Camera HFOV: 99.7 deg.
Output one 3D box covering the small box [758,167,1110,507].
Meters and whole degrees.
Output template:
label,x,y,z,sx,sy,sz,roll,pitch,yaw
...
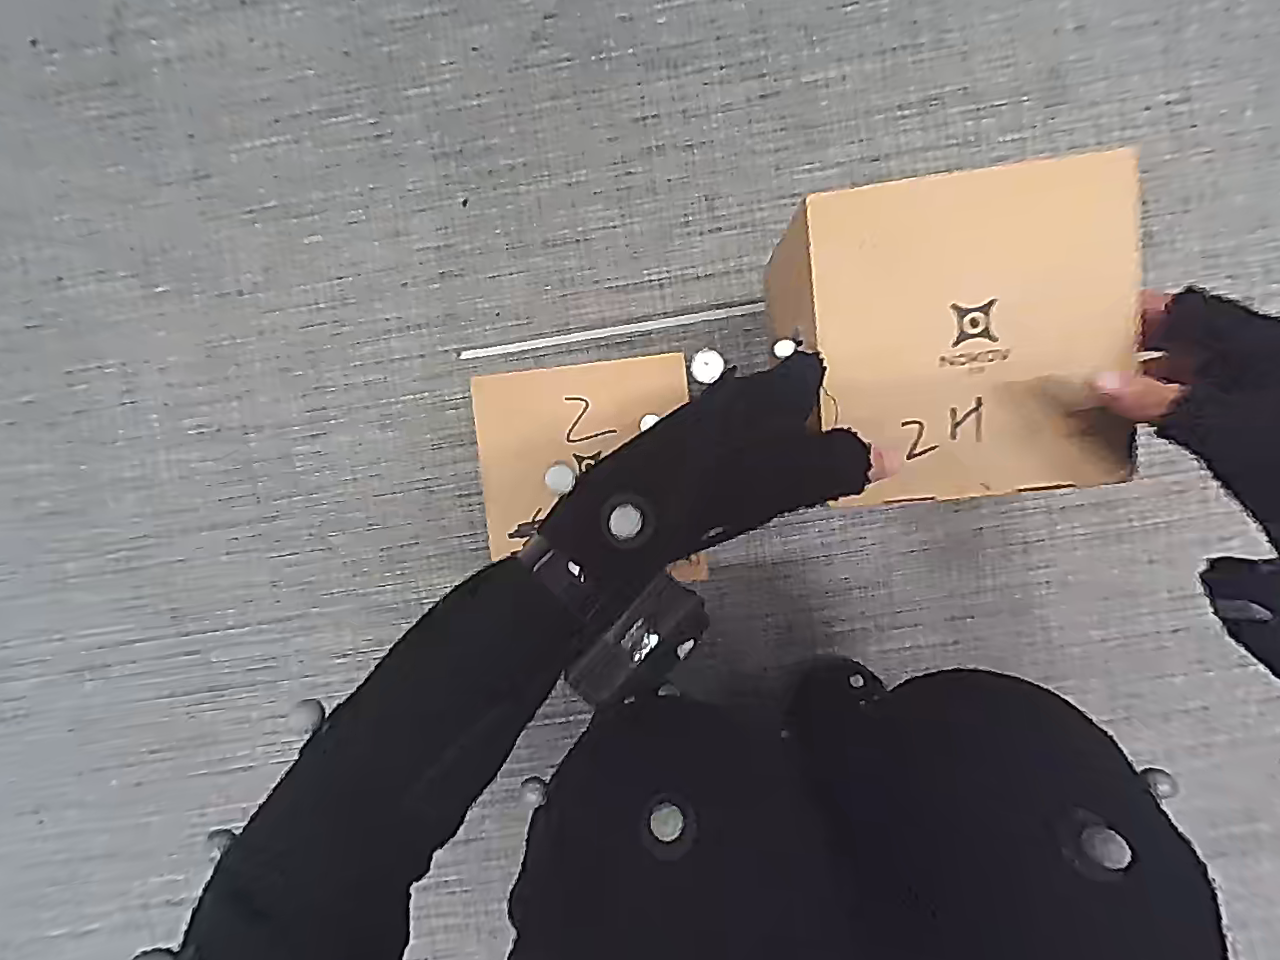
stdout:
label,x,y,z,sx,sy,sz,roll,pitch,yaw
small box,0.181,-0.084,0.383,0.168,0.176,0.179,-5,96,6
